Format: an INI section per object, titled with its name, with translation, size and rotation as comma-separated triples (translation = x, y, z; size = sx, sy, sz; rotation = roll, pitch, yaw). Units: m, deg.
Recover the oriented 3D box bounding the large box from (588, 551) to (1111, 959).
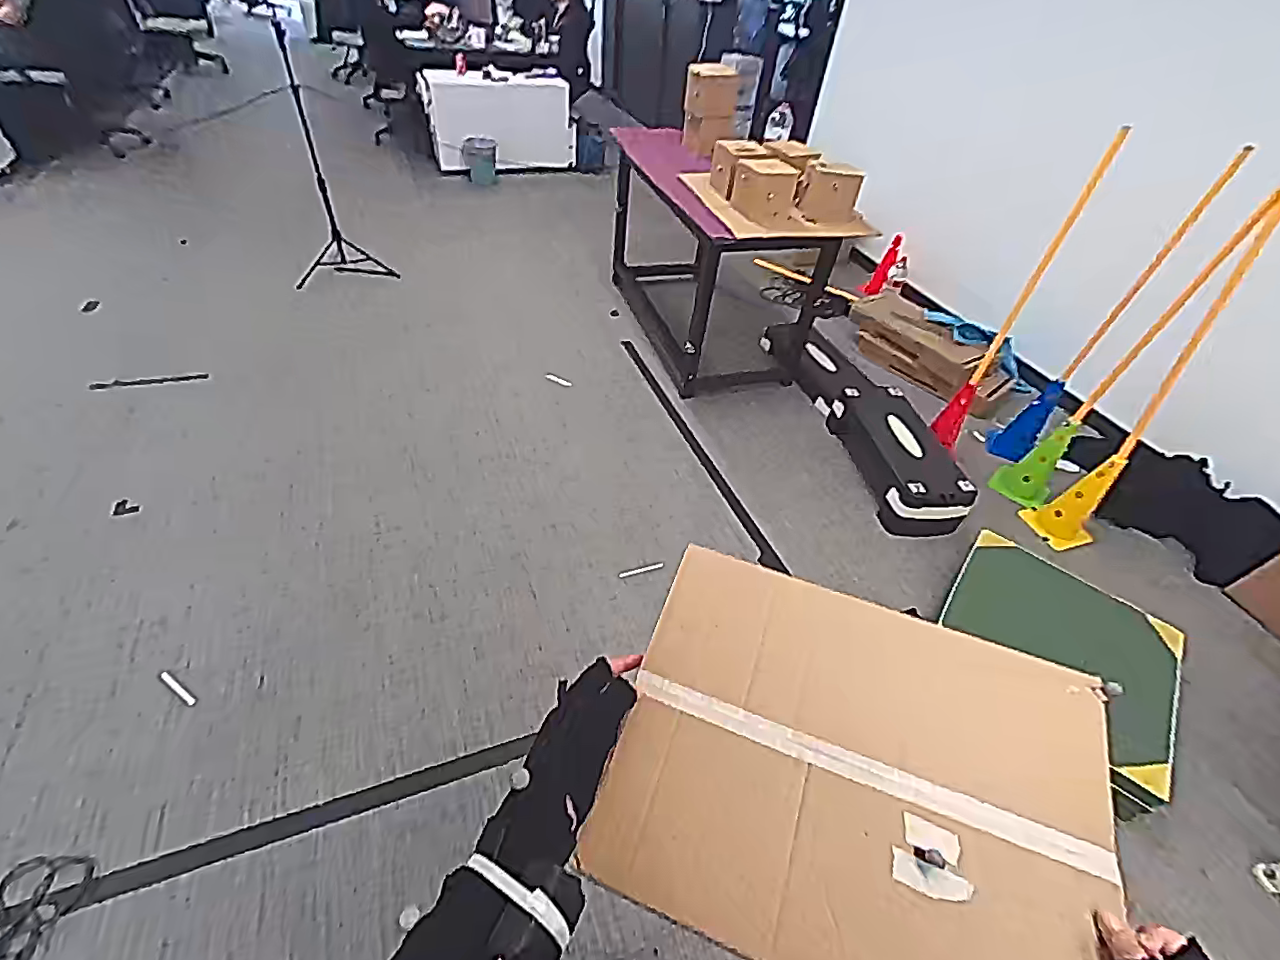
[large box]
translation = 0.194, 0.334, 0.605
size = 0.408, 0.320, 0.320
rotation = 18, 59, 13
